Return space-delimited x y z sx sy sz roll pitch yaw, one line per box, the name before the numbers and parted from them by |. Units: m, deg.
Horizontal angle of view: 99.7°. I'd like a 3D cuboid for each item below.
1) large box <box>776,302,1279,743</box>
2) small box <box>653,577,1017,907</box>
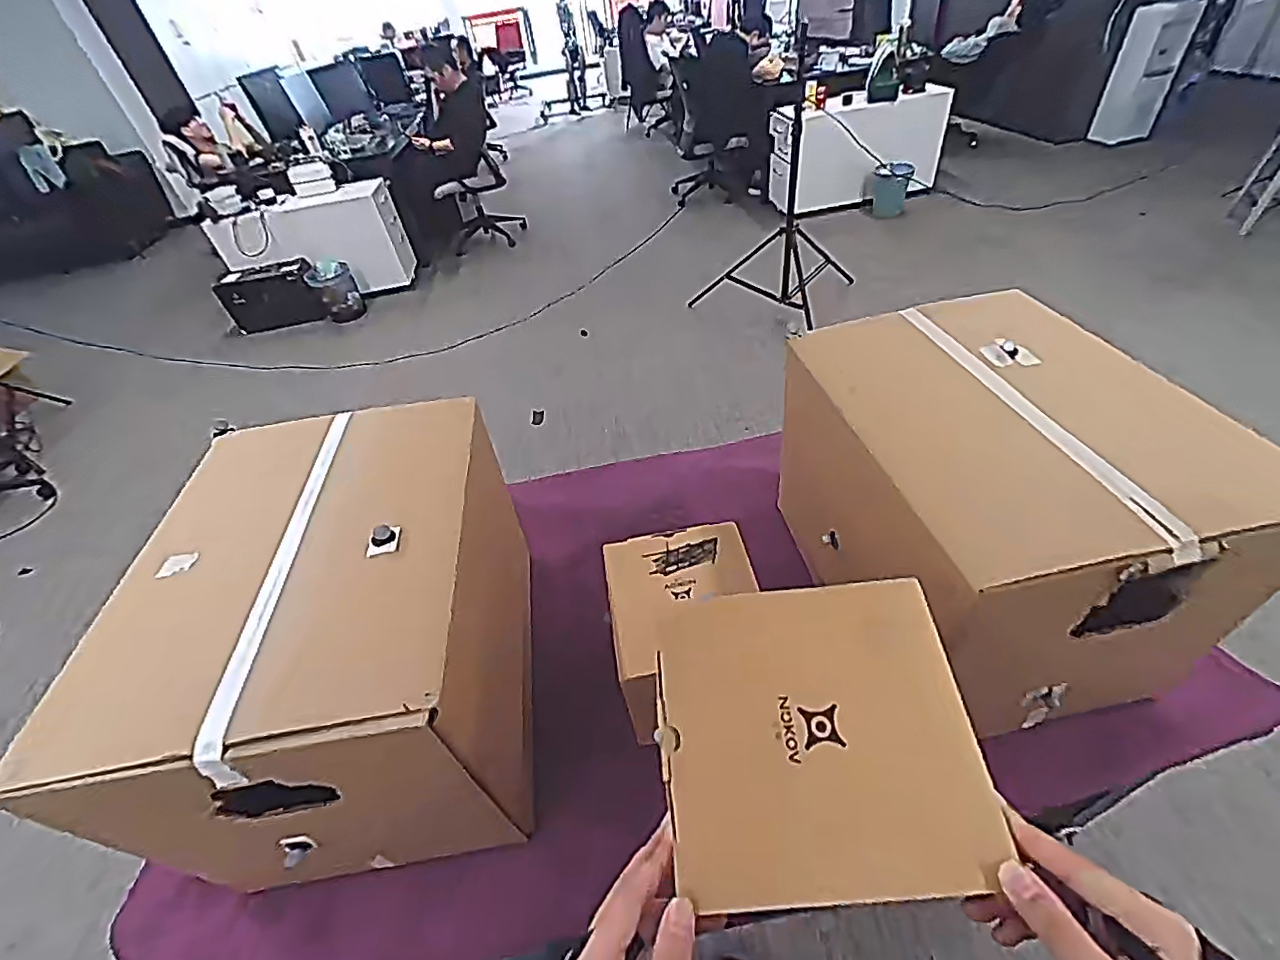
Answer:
large box | 0.380 0.040 0.645 0.320 0.320 0.408 -11 42 -2
small box | 0.107 0.181 0.381 0.179 0.176 0.168 -7 58 4
